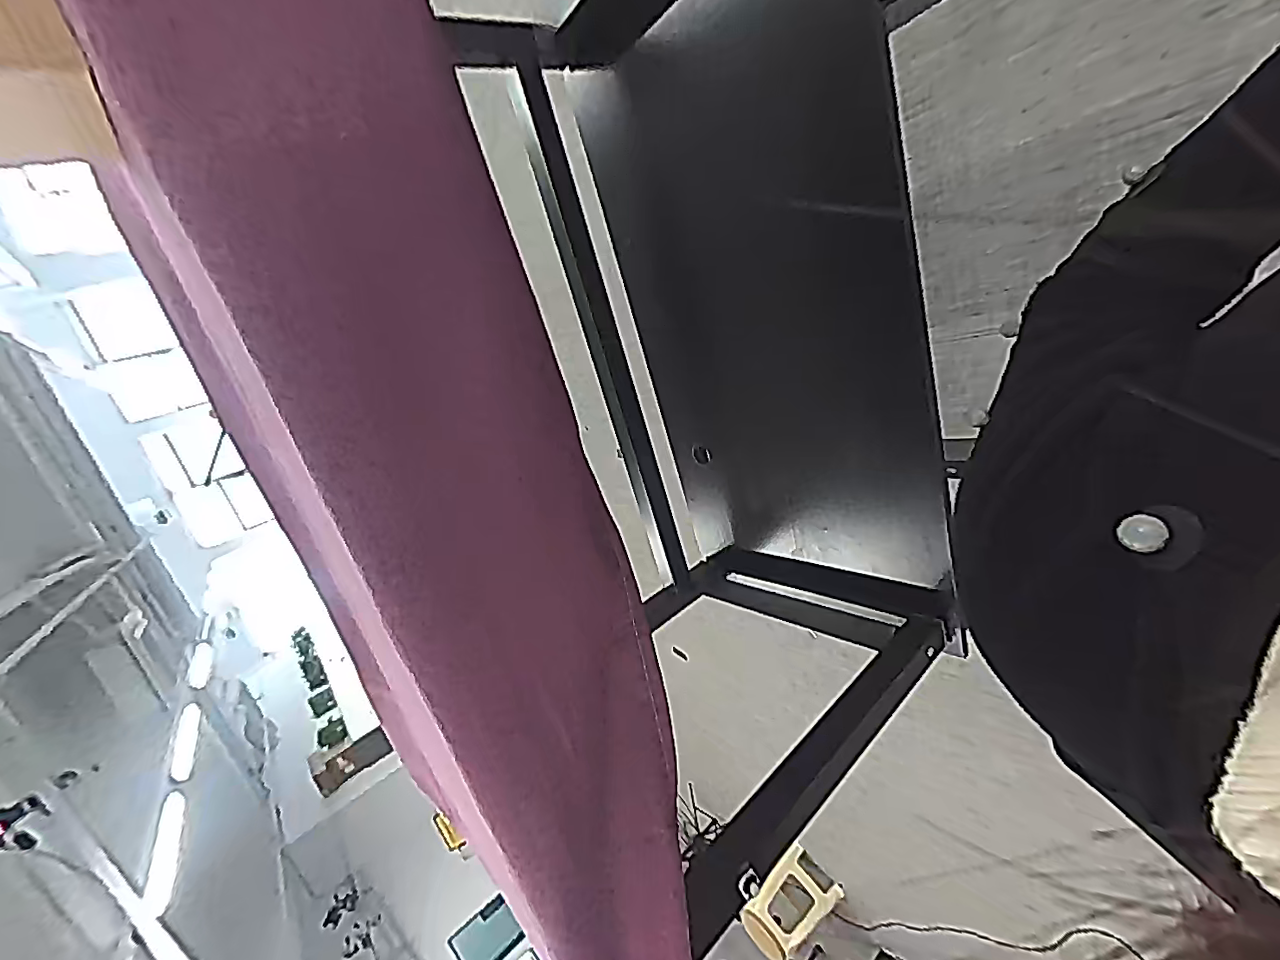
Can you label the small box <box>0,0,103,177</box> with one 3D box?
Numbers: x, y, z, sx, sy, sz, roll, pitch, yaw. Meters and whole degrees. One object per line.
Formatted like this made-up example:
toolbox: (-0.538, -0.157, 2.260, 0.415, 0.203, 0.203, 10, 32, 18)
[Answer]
small box: (-0.483, -0.295, 0.331, 0.179, 0.176, 0.168, 11, 124, 51)
